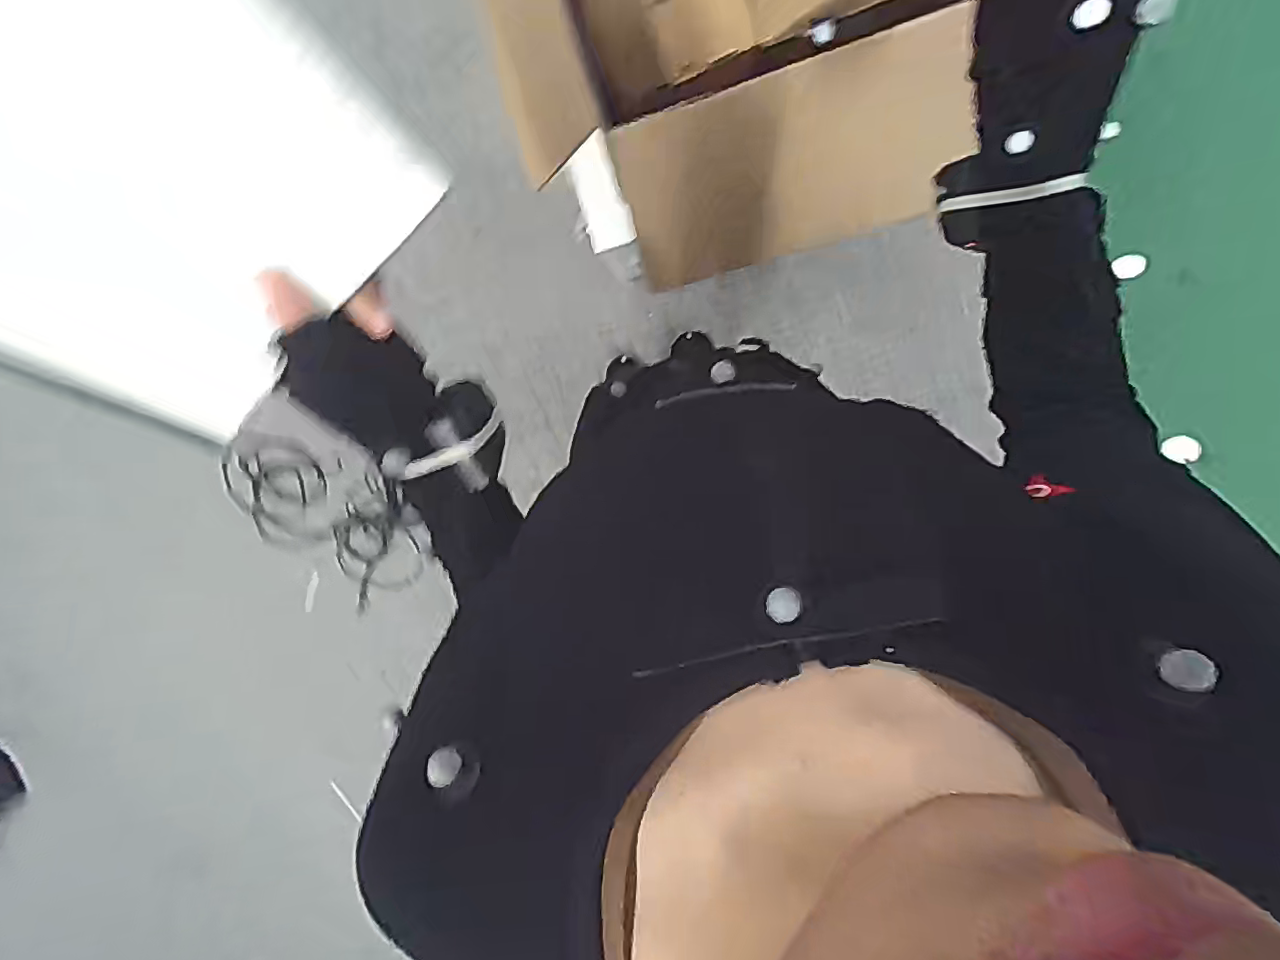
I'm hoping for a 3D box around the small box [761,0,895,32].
[{"bbox_3d":[0.164,-0.405,0.313,0.168,0.176,0.179,-28,115,-10],"label":"small box"}]
